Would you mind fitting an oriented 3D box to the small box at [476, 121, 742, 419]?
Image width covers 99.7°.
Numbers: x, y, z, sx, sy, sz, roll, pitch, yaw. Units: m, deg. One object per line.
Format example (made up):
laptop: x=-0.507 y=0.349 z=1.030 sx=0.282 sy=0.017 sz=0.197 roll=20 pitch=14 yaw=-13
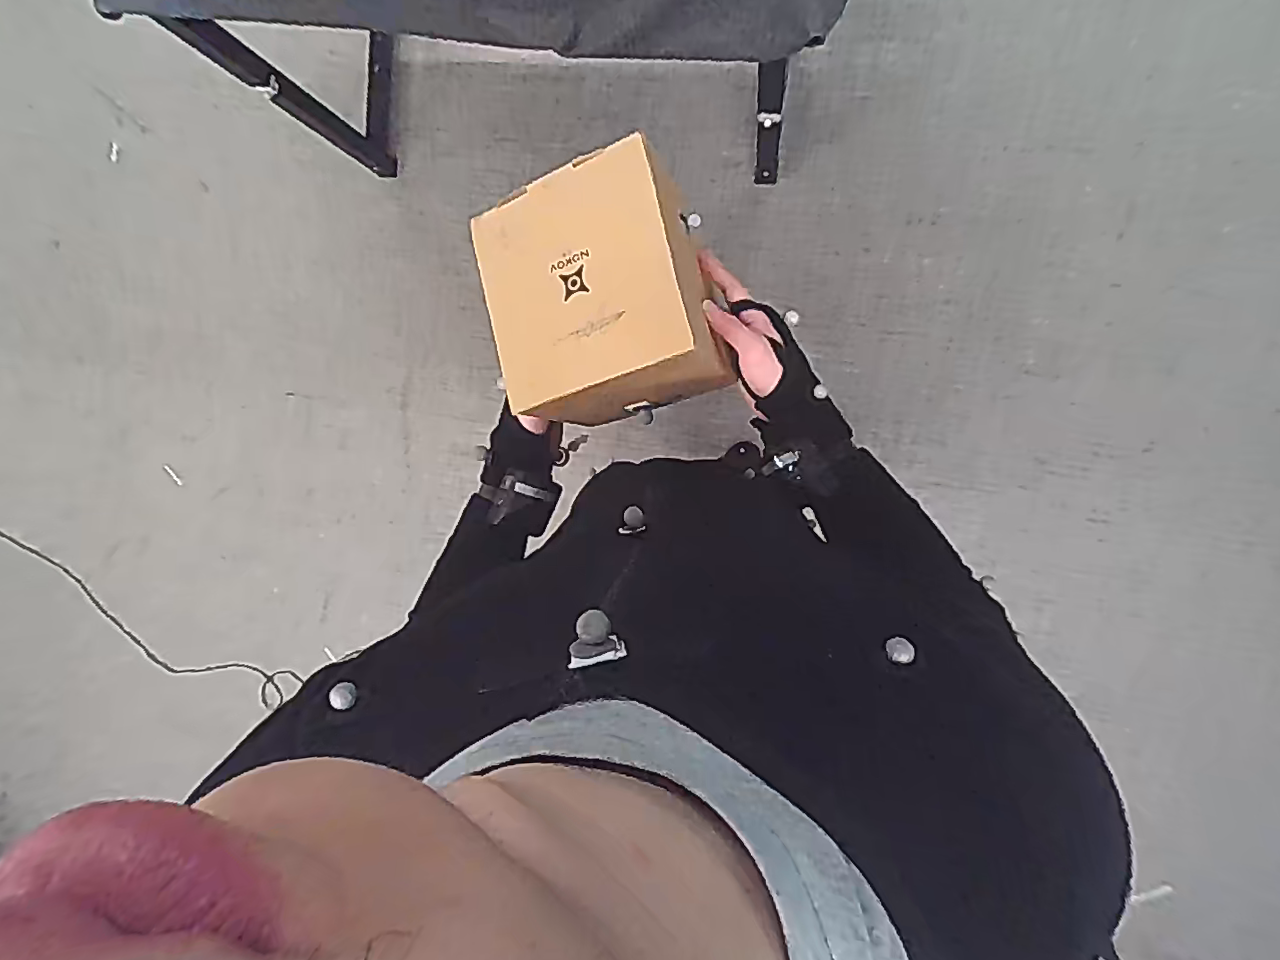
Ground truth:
small box: x=-0.017 y=-0.167 z=0.498 sx=0.168 sy=0.176 sz=0.179 roll=-16 pitch=85 yaw=21
